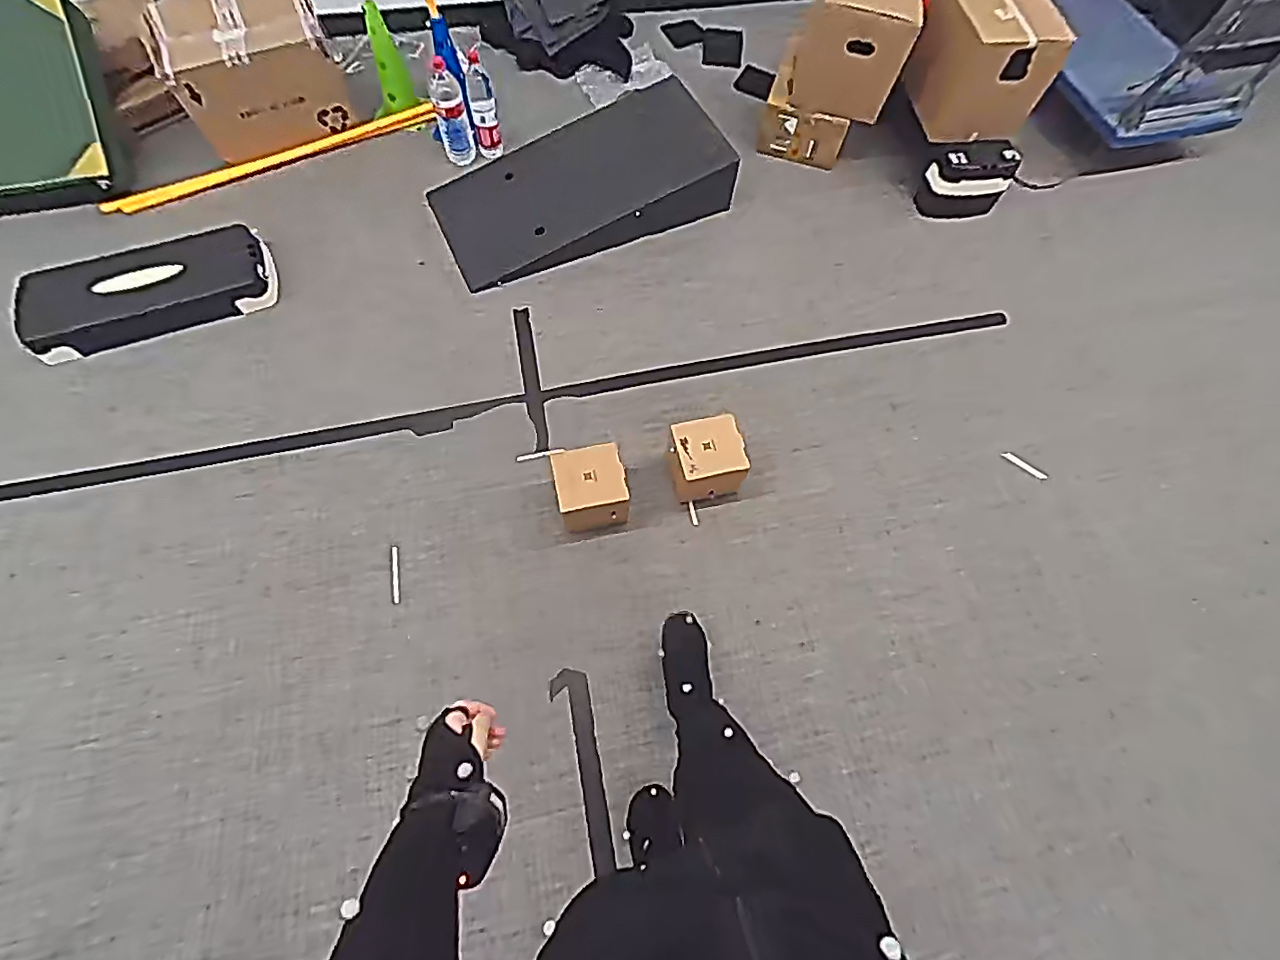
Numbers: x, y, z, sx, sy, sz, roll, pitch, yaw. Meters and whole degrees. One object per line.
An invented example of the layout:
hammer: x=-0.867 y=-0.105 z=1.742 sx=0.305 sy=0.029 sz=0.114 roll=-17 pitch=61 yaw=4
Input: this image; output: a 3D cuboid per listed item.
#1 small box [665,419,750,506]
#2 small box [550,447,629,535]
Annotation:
small box: x=0.176 y=-0.044 z=1.469 sx=0.179 sy=0.176 sz=0.168 roll=-10 pitch=67 yaw=-8
small box: x=-0.131 y=0.032 z=1.419 sx=0.179 sy=0.176 sz=0.168 roll=-11 pitch=67 yaw=-7
